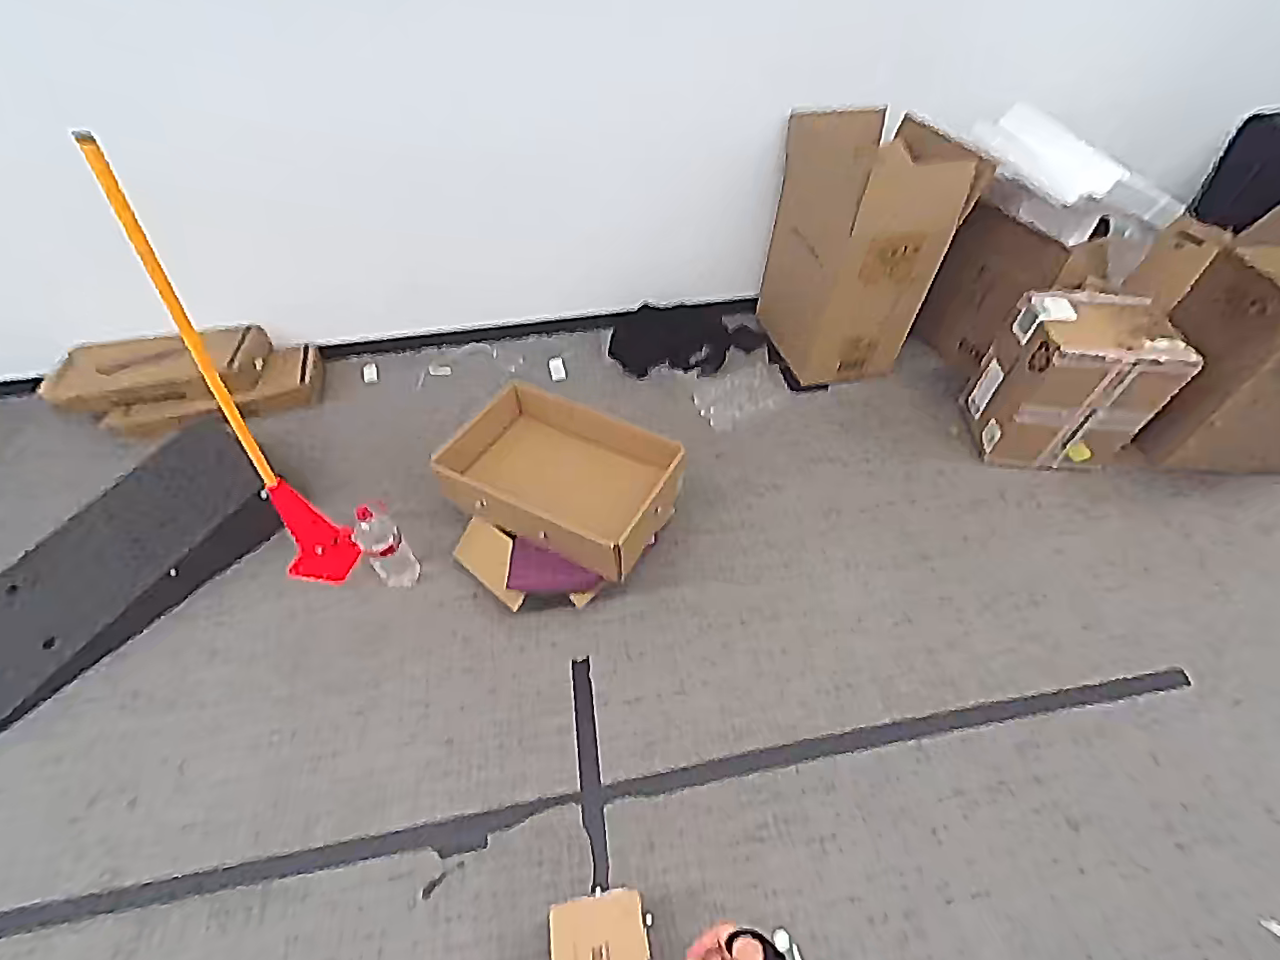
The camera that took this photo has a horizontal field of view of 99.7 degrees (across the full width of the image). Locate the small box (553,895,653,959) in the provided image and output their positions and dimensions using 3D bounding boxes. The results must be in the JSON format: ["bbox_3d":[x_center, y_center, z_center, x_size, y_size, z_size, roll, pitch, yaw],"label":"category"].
[{"bbox_3d":[-0.063,0.912,1.028,0.179,0.176,0.168,-9,48,-5],"label":"small box"}]
